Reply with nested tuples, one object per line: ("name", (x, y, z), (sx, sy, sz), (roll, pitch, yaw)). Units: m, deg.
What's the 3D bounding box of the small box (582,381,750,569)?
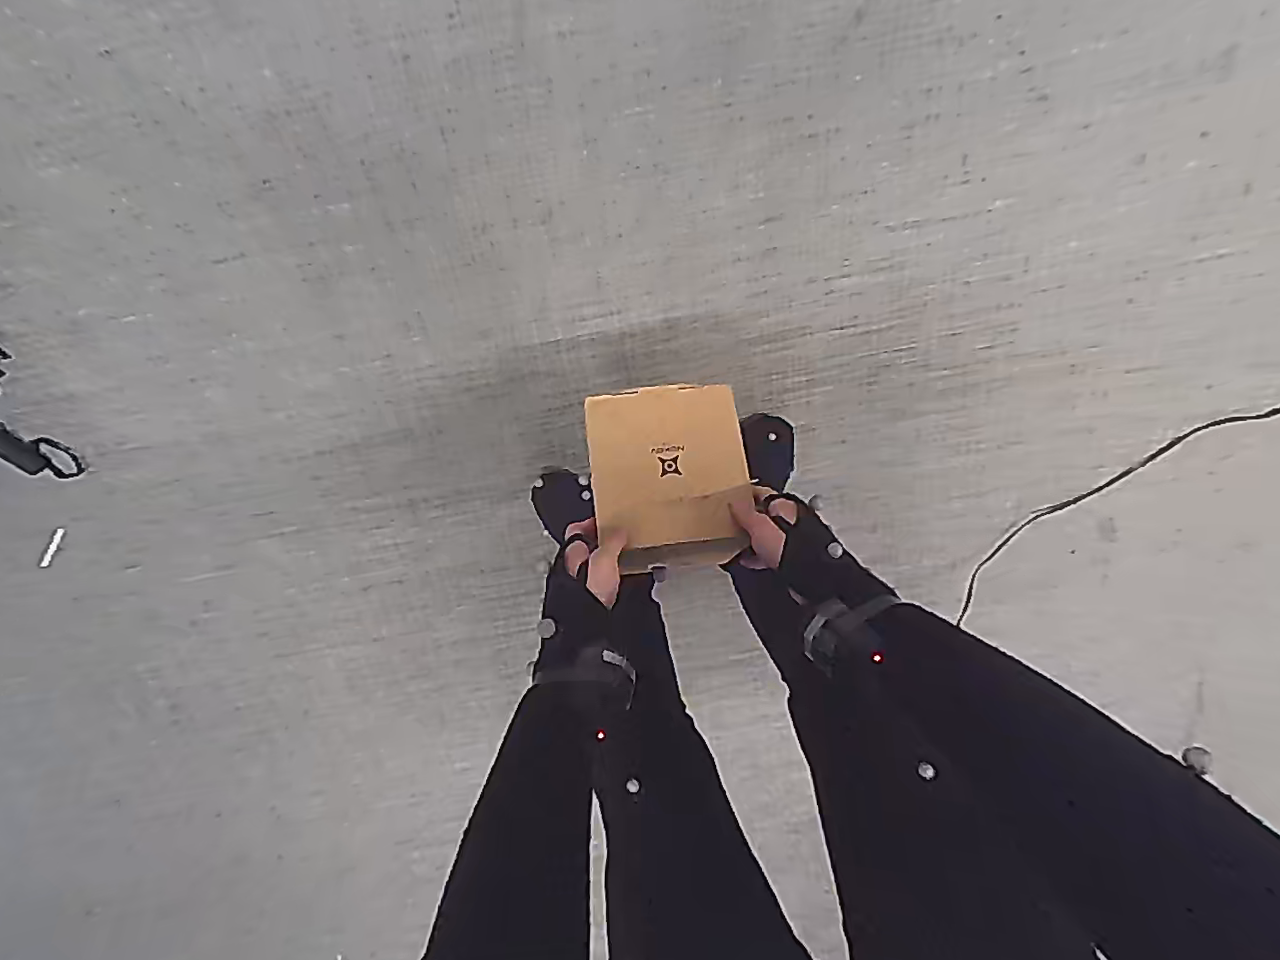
("small box", (0.020, 0.002, 0.654), (0.168, 0.176, 0.179), (-6, 73, -4))
